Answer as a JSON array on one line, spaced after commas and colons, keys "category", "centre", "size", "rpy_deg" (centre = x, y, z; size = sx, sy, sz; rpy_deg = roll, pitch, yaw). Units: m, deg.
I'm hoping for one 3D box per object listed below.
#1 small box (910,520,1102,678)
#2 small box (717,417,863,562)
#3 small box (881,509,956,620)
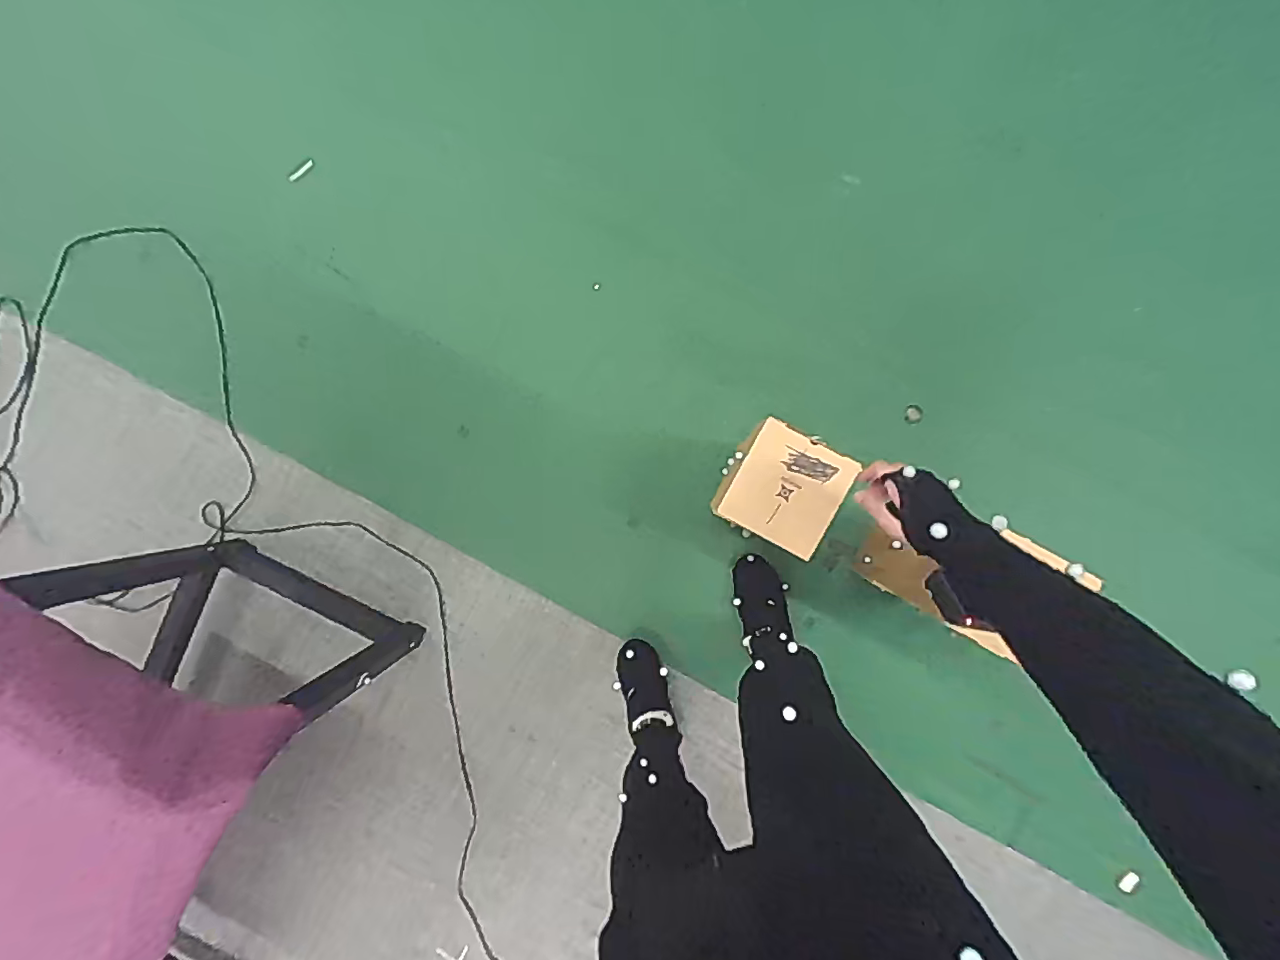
[{"category": "small box", "centre": [0.583, 0.182, 0.892], "size": [0.168, 0.176, 0.179], "rpy_deg": [30, 96, 3]}, {"category": "small box", "centre": [0.240, 0.012, 0.921], "size": [0.168, 0.176, 0.179], "rpy_deg": [29, 93, 4]}, {"category": "small box", "centre": [0.601, 0.176, 1.056], "size": [0.168, 0.176, 0.179], "rpy_deg": [29, 96, 2]}]
